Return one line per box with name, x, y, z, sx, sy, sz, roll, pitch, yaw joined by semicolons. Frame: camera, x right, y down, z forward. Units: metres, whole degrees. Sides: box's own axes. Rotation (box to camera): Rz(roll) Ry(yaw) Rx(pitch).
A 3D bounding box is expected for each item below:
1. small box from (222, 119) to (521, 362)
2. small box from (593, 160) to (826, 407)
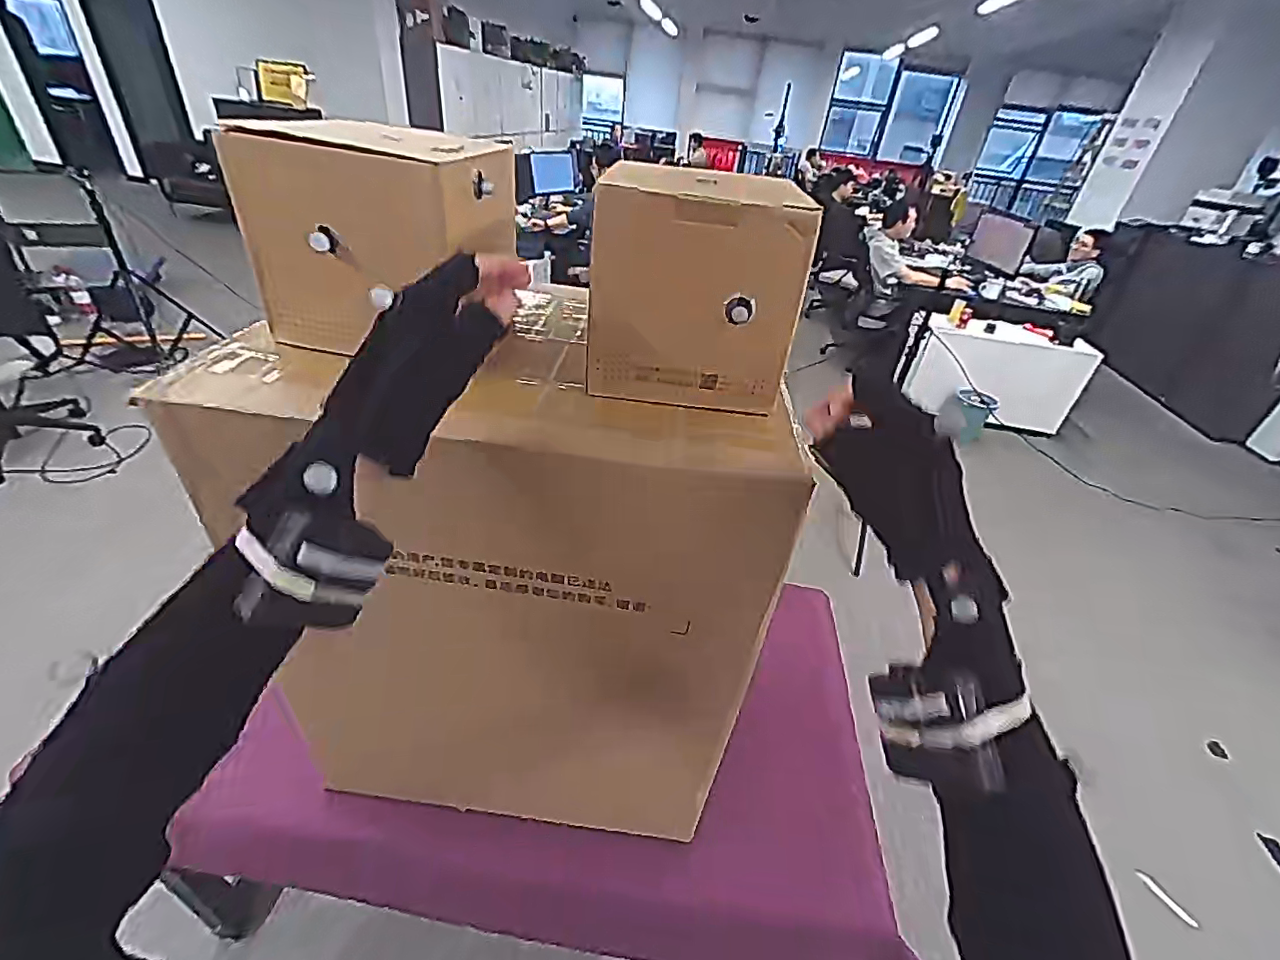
small box;-0.219;-0.222;0.498;0.179;0.176;0.168;10;35;3
small box;0.051;-0.181;0.492;0.168;0.176;0.179;7;34;0
